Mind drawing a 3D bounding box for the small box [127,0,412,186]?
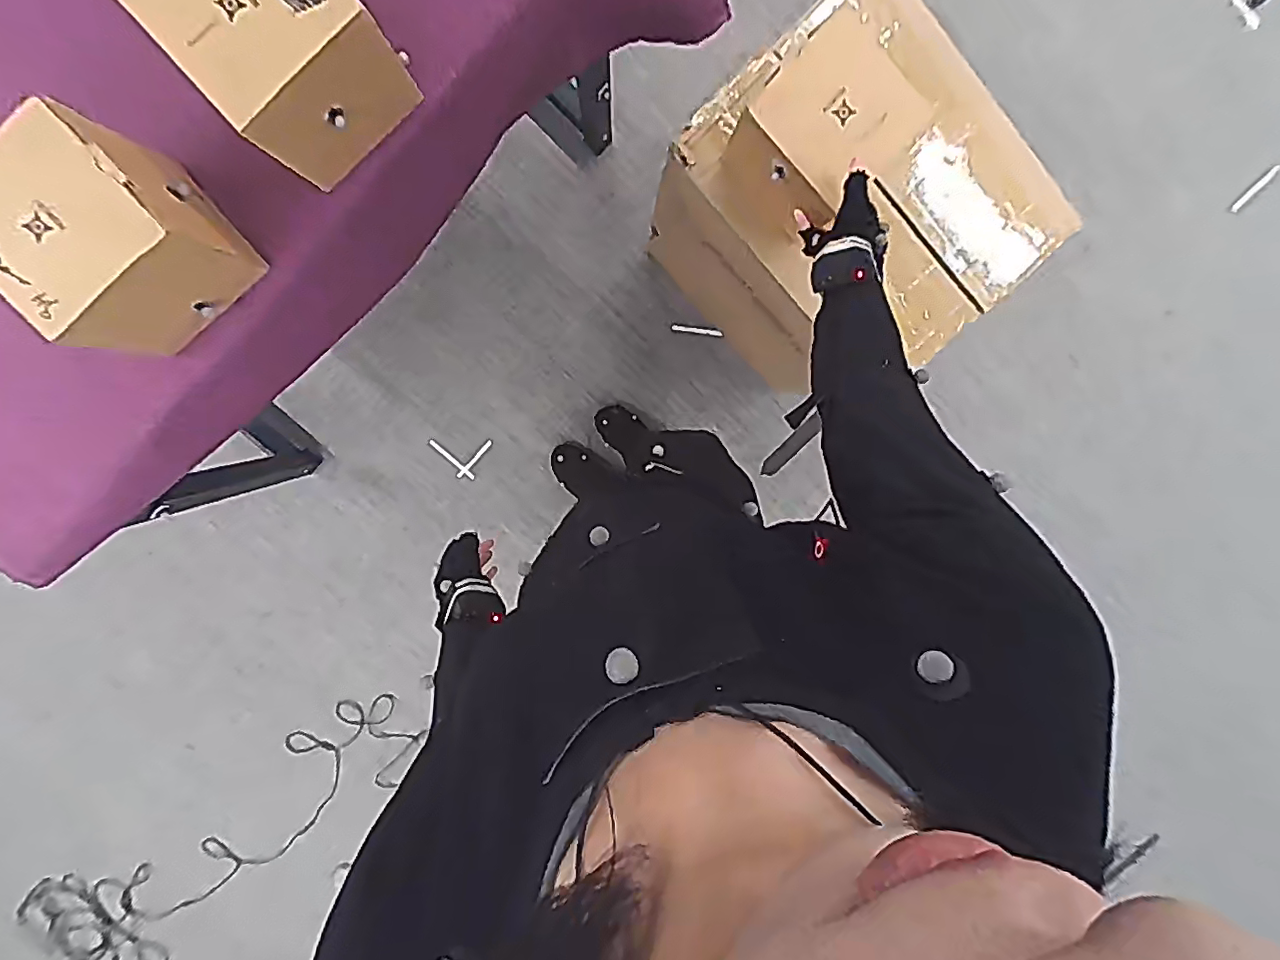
[{"bbox_3d":[-0.382,-0.473,0.597,0.179,0.176,0.168,-40,98,5],"label":"small box"}]

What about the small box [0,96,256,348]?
[{"bbox_3d":[-0.592,-0.272,0.620,0.179,0.176,0.168,-40,98,3],"label":"small box"}]

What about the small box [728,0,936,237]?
[{"bbox_3d":[0.242,-0.463,0.731,0.179,0.176,0.168,43,98,-10],"label":"small box"}]
